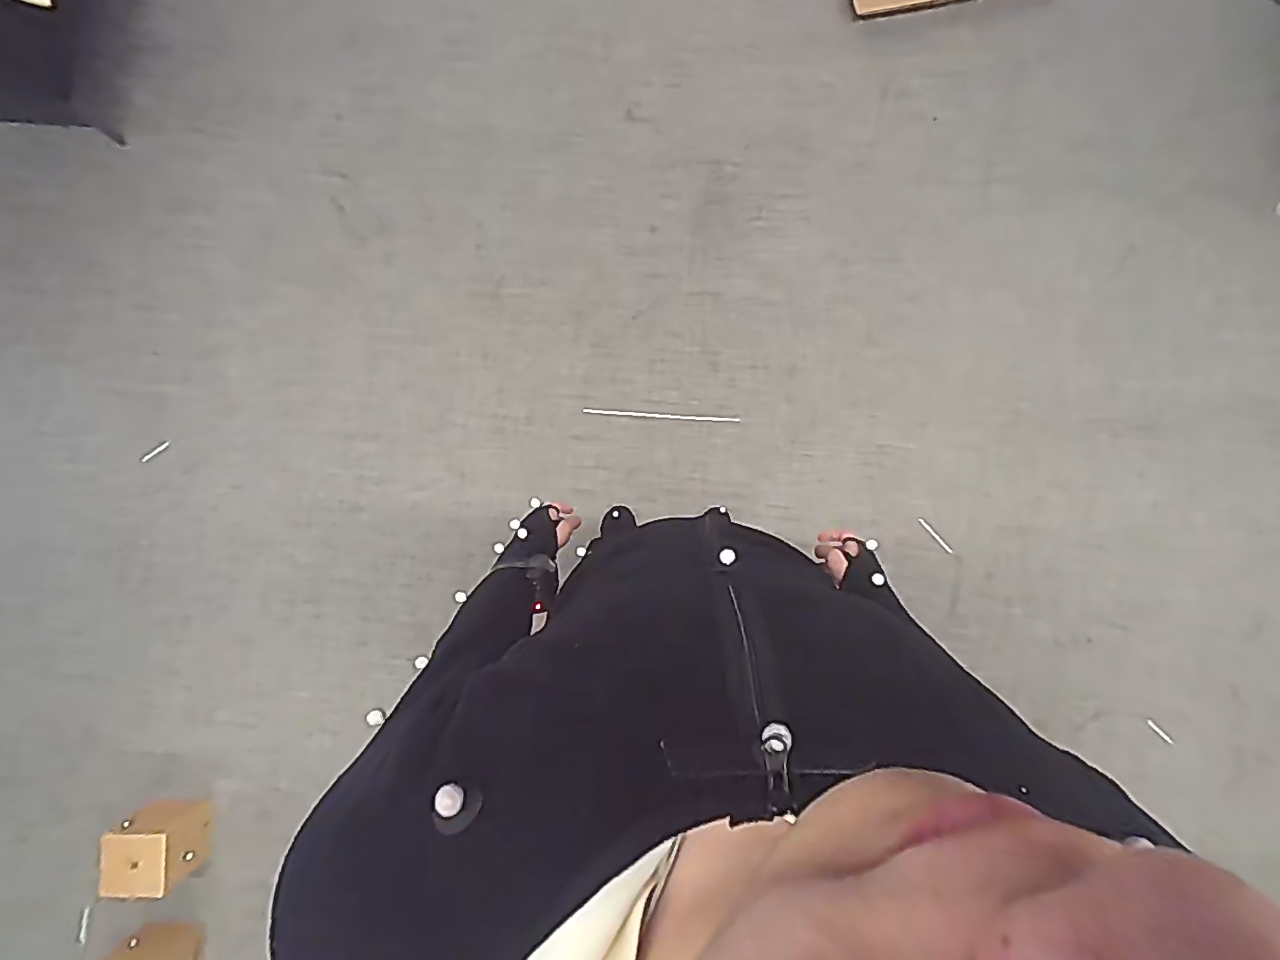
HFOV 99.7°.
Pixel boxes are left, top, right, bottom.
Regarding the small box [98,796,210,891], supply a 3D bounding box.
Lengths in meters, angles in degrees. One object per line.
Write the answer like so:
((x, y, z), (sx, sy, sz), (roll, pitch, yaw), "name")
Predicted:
((-1.358, 1.015, 1.522), (0.179, 0.176, 0.168), (0, 87, 1), "small box")

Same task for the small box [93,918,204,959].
((-1.374, 1.364, 1.504), (0.179, 0.176, 0.168), (3, 88, 0), "small box")
